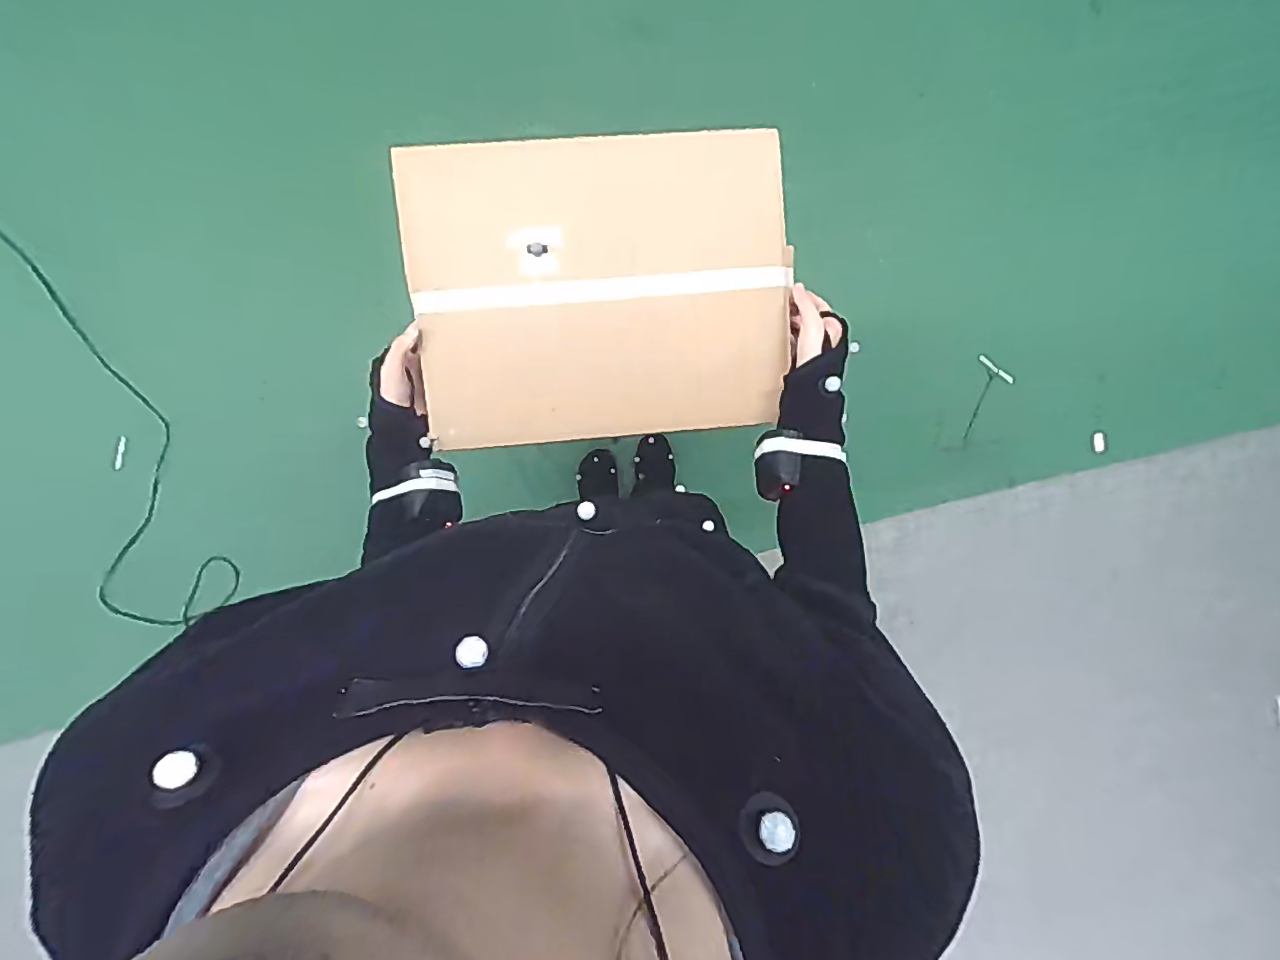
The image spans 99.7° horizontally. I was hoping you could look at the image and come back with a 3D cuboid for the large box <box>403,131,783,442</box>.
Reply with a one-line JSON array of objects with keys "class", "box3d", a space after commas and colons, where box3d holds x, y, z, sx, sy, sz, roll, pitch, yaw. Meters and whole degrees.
[{"class": "large box", "box3d": [-0.049, -0.233, 0.743, 0.408, 0.320, 0.320, -4, 98, -3]}]
